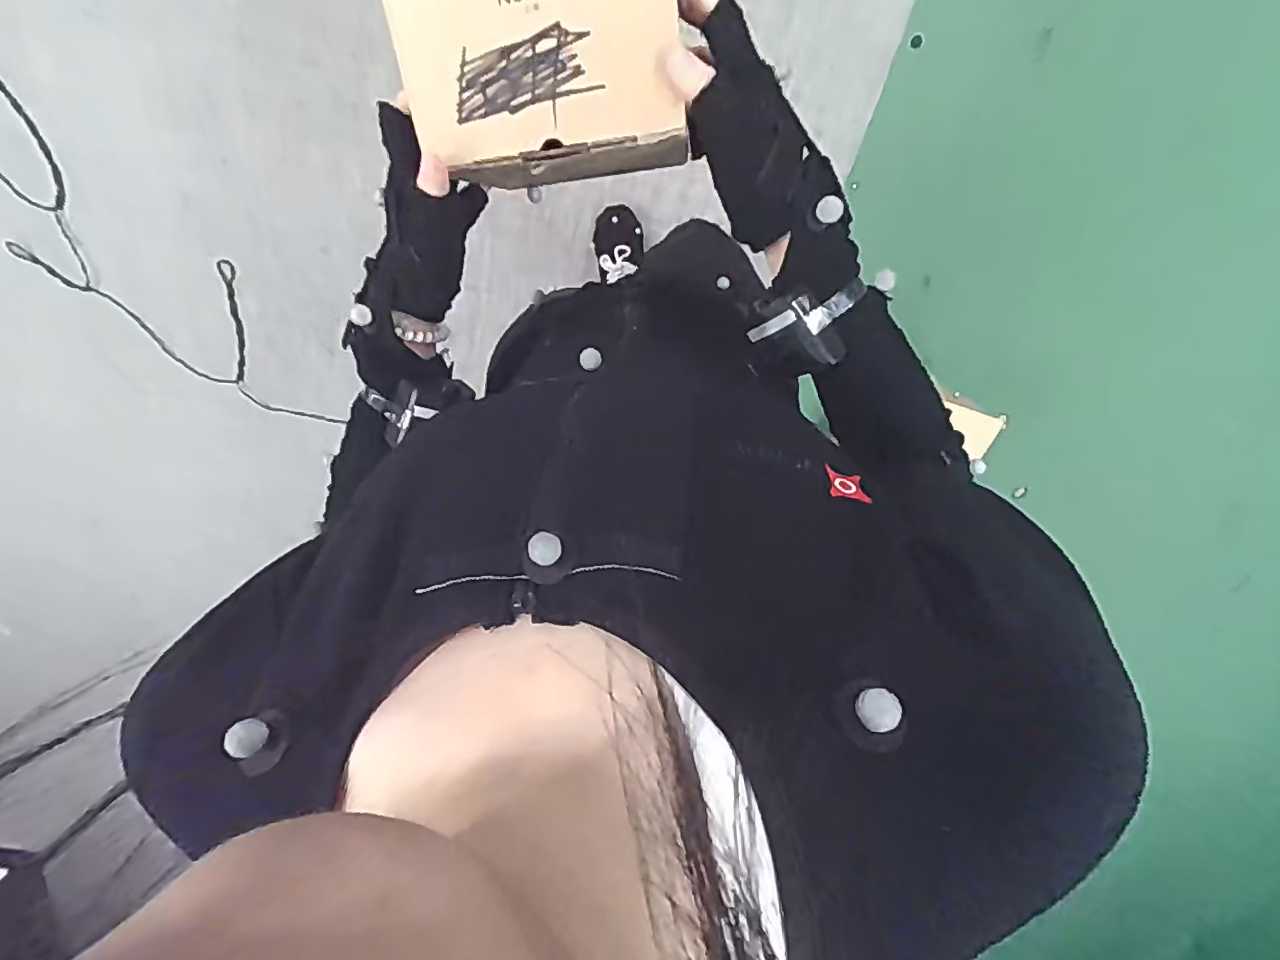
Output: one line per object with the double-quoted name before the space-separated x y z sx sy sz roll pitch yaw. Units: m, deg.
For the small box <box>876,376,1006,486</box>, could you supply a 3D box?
"small box" 0.675 -0.119 1.242 0.168 0.176 0.179 17 117 -8
